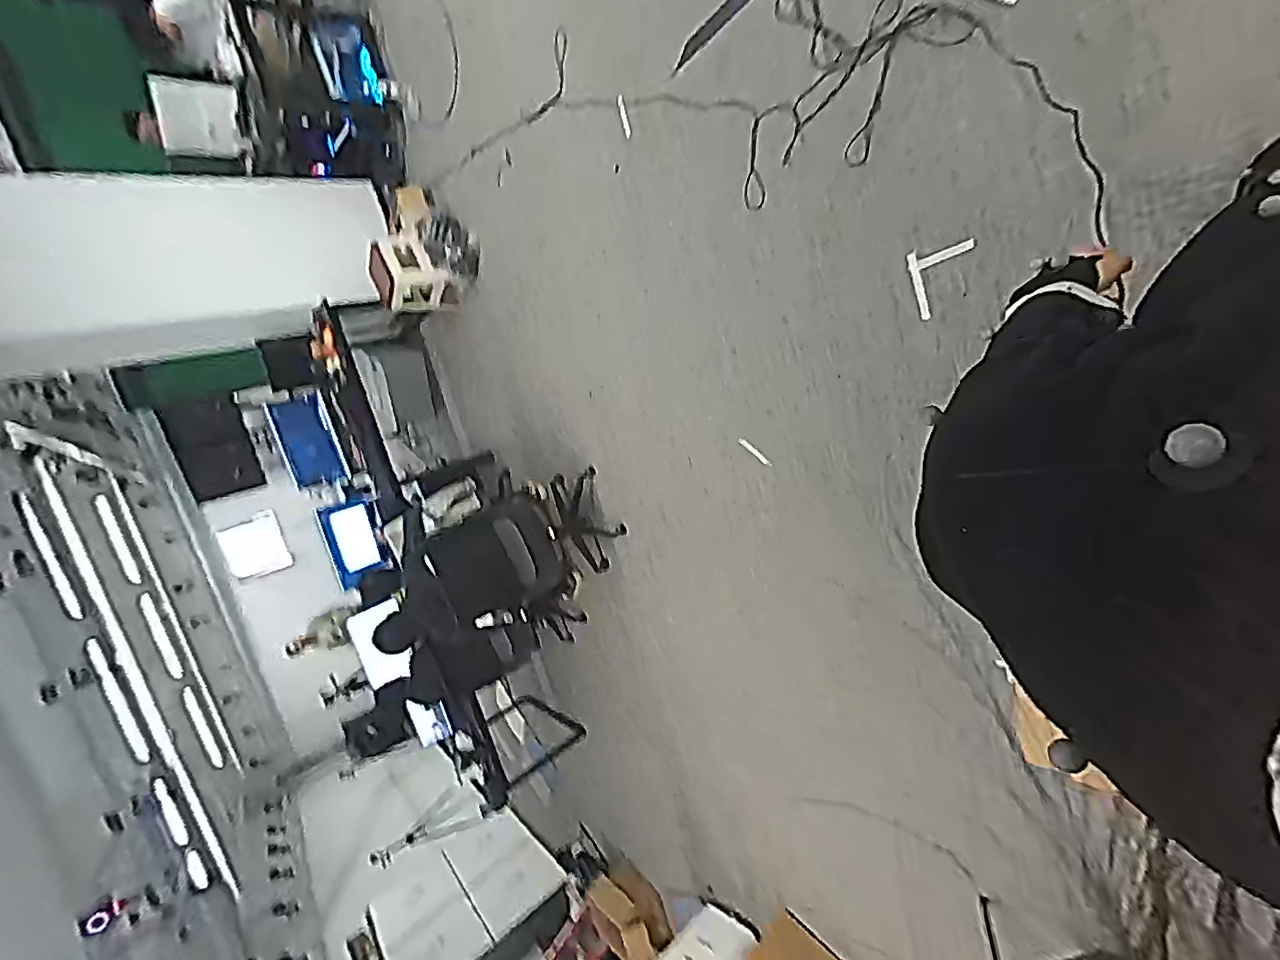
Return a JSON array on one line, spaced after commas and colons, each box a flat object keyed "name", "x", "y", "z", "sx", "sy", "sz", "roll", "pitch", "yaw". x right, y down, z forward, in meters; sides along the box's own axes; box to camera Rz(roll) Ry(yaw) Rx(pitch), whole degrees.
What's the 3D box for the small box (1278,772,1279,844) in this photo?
[{"name": "small box", "x": 0.808, "y": 0.308, "z": 0.572, "sx": 0.168, "sy": 0.176, "sz": 0.179, "roll": 1, "pitch": 110, "yaw": 53}]
